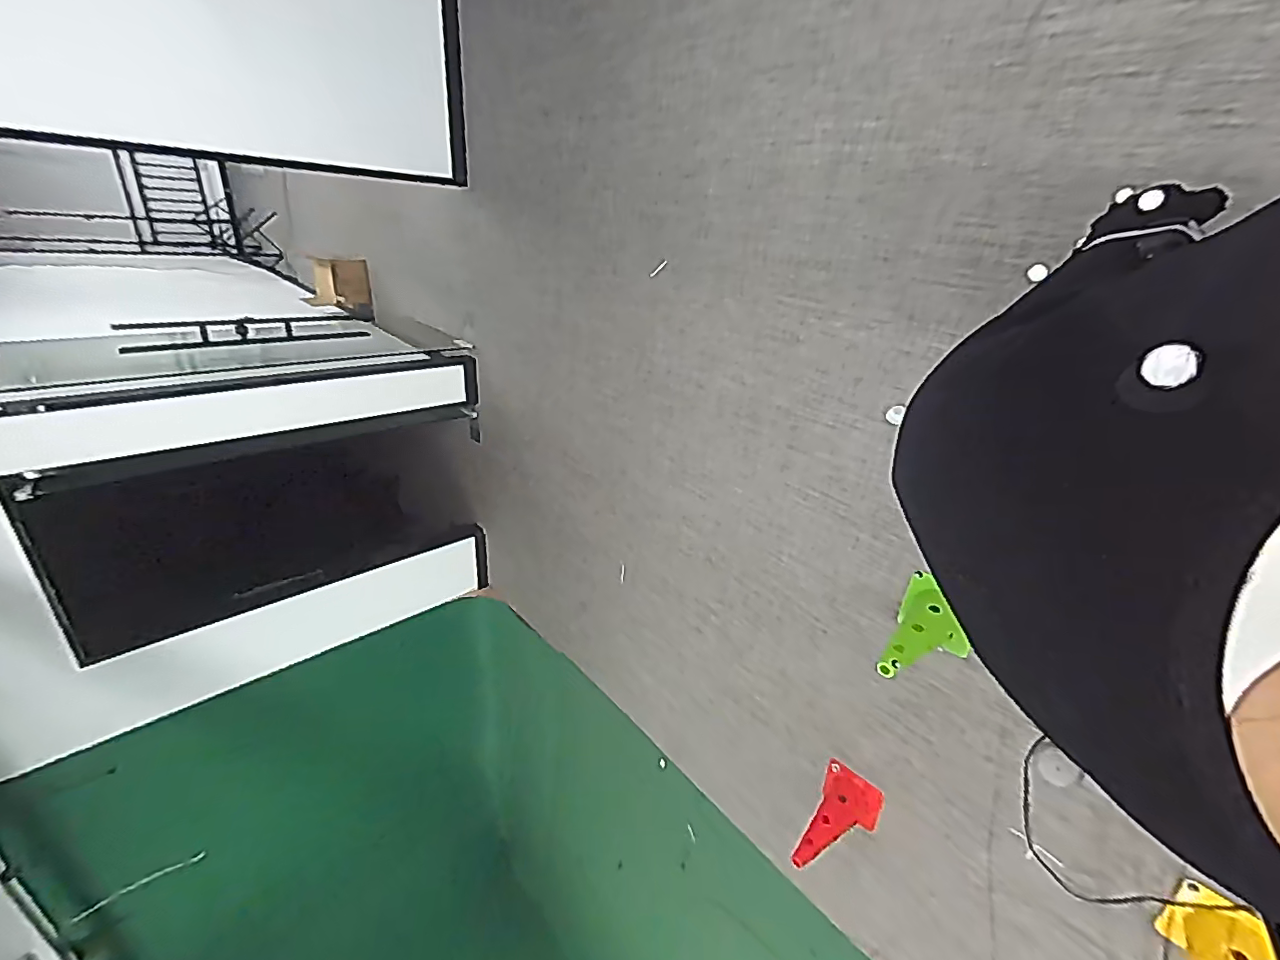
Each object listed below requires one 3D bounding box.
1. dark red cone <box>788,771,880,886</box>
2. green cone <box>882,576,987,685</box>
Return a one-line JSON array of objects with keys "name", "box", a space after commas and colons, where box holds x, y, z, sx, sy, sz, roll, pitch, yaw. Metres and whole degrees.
[{"name": "dark red cone", "box": [0.613, 1.186, 1.794, 0.202, 0.394, 0.201, 23, 122, 43]}, {"name": "green cone", "box": [0.727, 0.434, 1.421, 0.202, 0.368, 0.200, 27, 123, 40]}]
